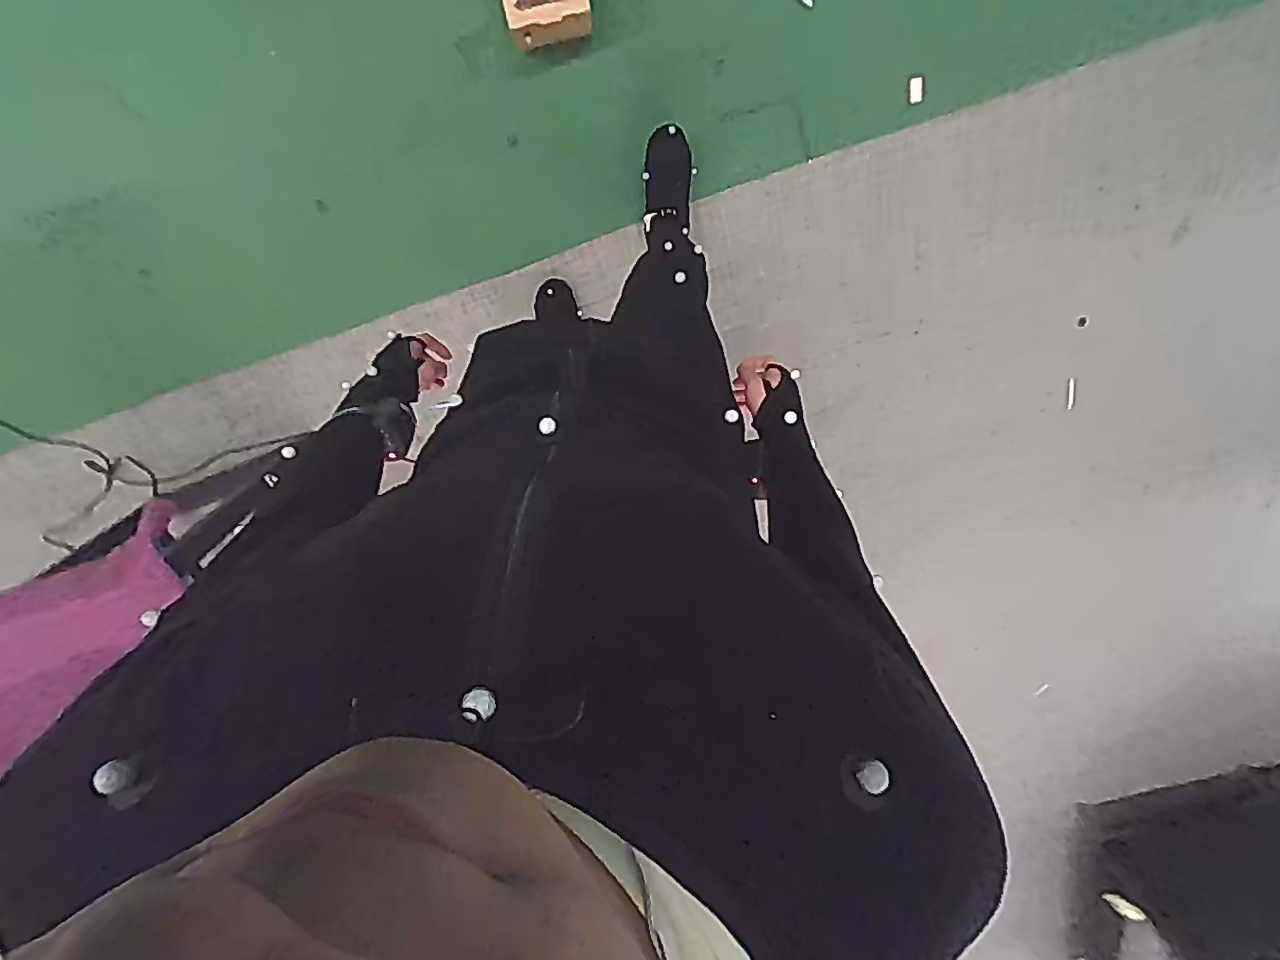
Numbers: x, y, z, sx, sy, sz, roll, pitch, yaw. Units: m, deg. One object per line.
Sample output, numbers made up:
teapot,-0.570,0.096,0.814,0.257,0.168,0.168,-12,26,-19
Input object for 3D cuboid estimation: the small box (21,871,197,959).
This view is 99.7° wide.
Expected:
small box,-0.971,0.848,0.991,0.179,0.176,0.168,-21,114,7
